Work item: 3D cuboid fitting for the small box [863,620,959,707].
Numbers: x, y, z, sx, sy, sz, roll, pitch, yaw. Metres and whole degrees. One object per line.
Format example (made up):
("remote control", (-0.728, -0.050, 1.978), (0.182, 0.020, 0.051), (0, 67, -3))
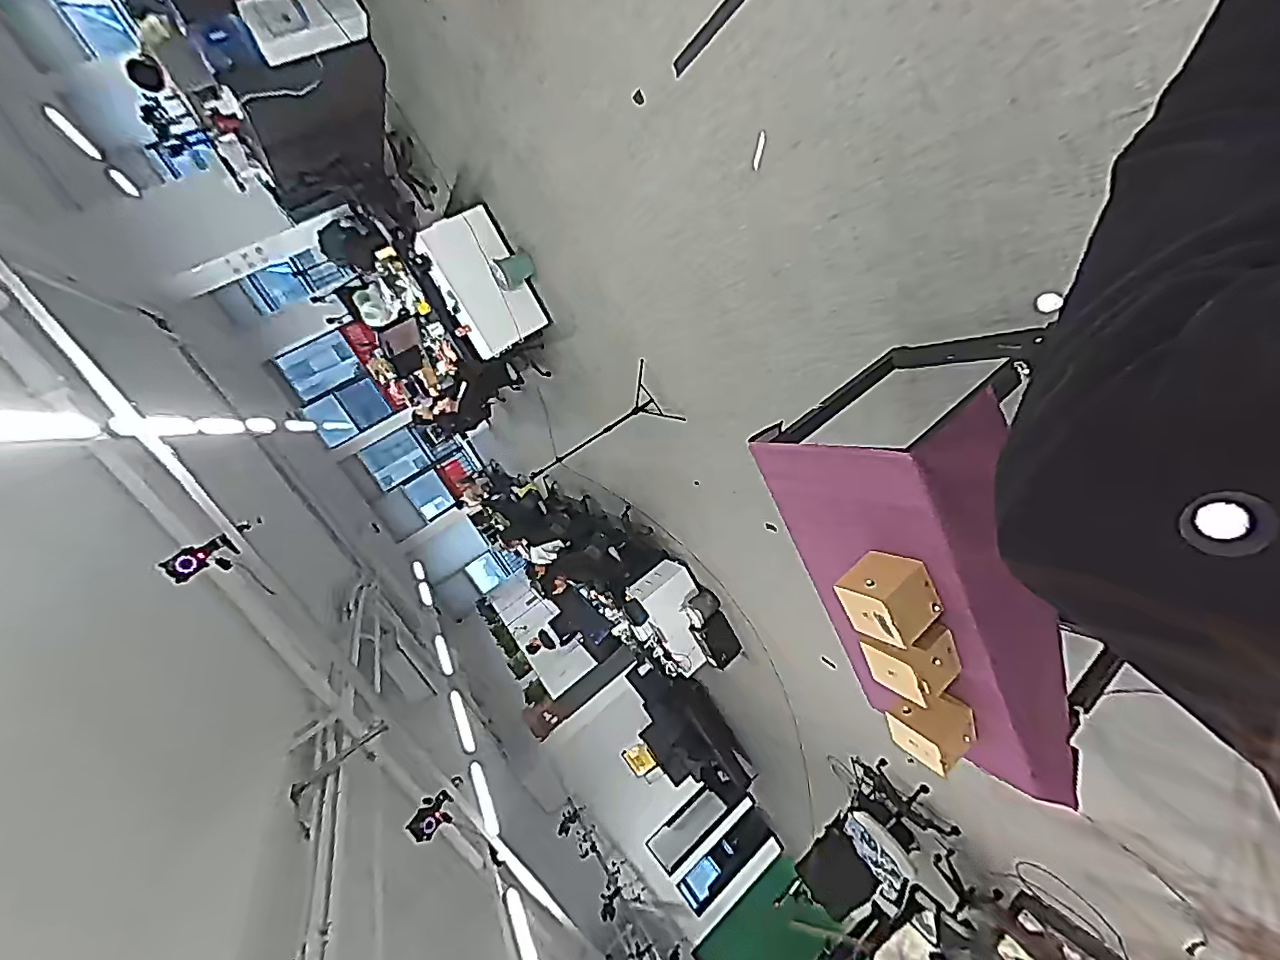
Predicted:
("small box", (0.777, 0.495, 1.539), (0.179, 0.176, 0.168), (18, 139, 61))

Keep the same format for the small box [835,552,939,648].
("small box", (0.675, 0.314, 1.464), (0.168, 0.176, 0.179), (59, 162, -15))

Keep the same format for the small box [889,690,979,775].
("small box", (0.908, 0.754, 1.669), (0.179, 0.176, 0.168), (24, 146, 55))
